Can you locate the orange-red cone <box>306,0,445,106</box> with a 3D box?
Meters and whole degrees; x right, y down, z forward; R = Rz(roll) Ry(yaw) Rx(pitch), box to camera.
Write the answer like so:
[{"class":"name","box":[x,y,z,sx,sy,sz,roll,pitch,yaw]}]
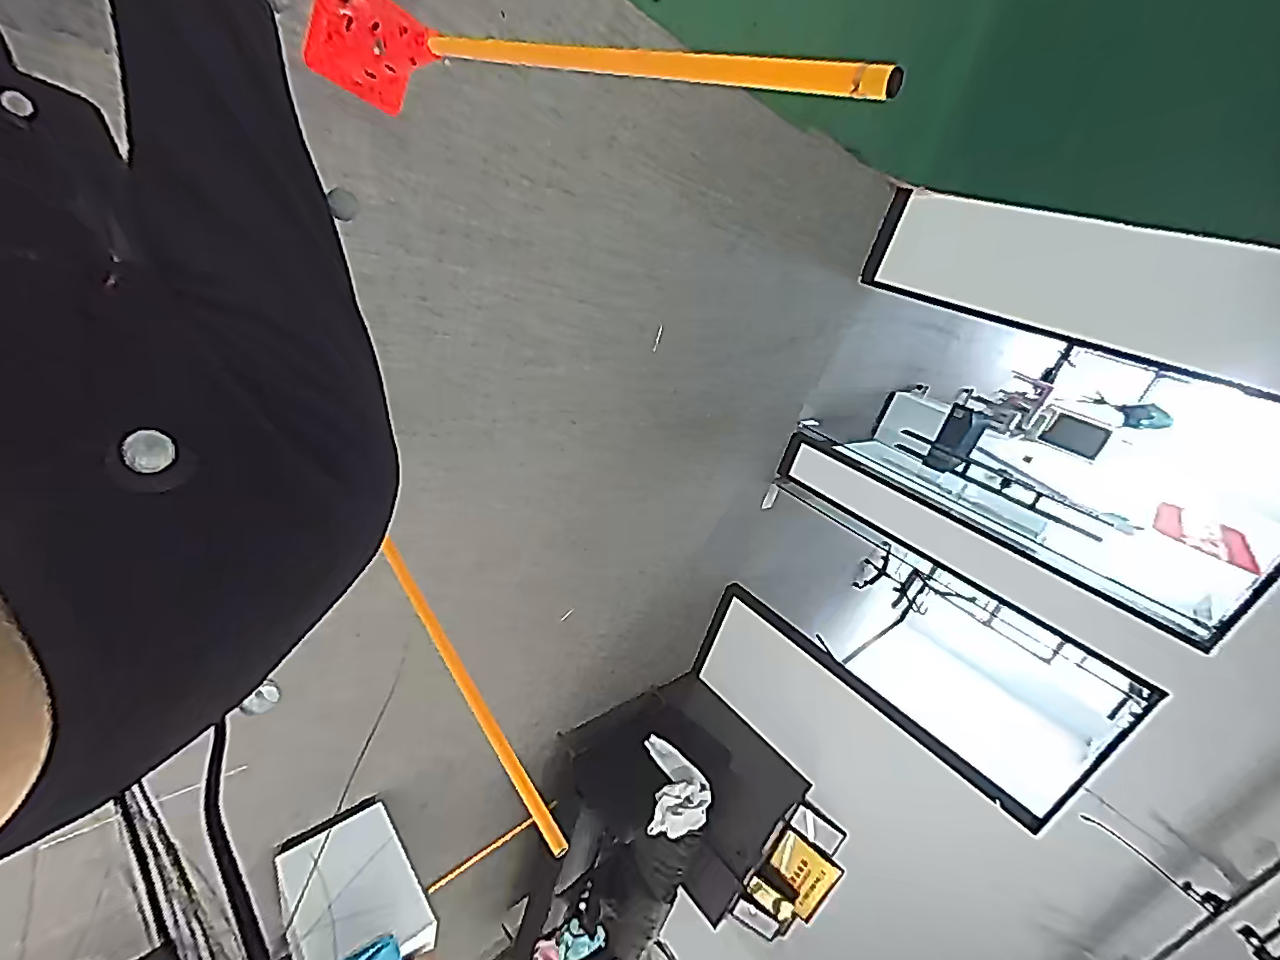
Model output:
[{"class":"orange-red cone","box":[-0.461,-0.845,1.029,0.198,0.360,0.199,8,114,-50]}]
